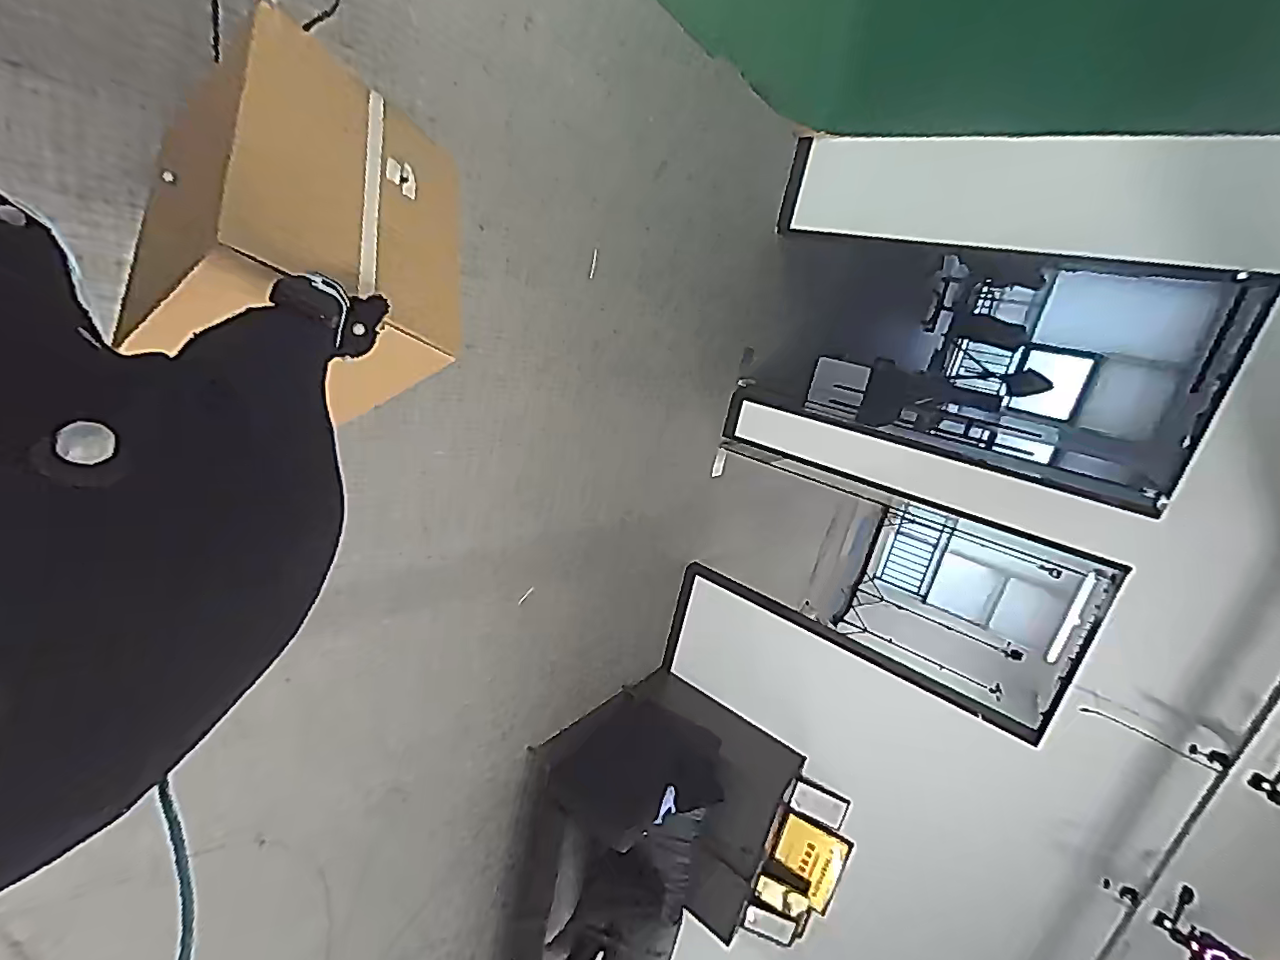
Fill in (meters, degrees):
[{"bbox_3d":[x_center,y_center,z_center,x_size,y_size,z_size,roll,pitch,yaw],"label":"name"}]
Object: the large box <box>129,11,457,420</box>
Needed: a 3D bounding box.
[{"bbox_3d":[-0.513,-0.359,0.839,0.320,0.320,0.408,23,53,-55],"label":"large box"}]
